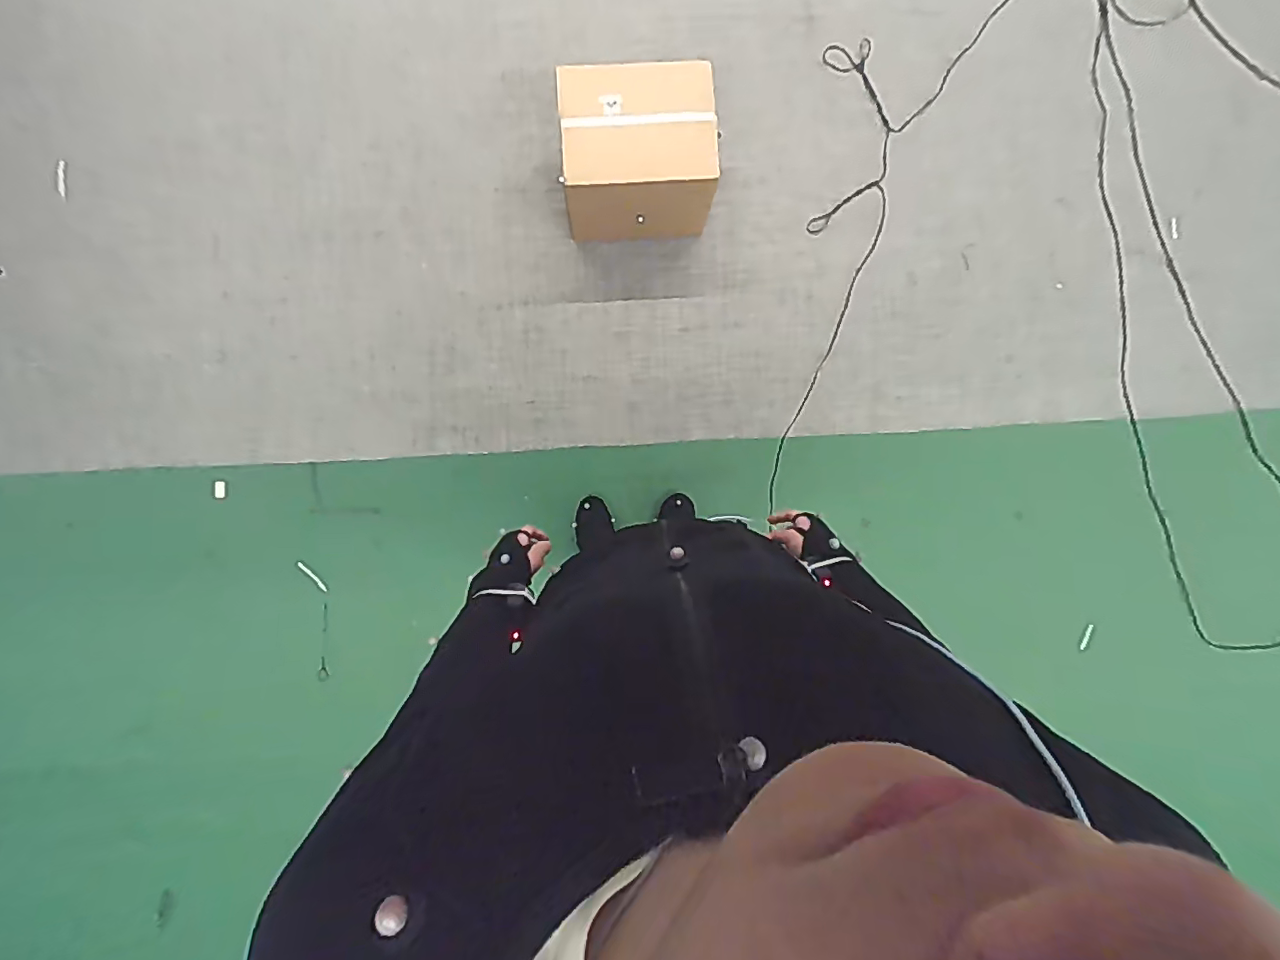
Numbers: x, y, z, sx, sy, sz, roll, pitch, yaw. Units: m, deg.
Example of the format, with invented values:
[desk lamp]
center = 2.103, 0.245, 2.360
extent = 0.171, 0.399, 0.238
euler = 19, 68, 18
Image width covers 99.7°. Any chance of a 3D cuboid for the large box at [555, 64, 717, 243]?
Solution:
[large box]
center = -0.012, -0.908, 1.546
extent = 0.408, 0.320, 0.320
euler = -5, 88, -1
